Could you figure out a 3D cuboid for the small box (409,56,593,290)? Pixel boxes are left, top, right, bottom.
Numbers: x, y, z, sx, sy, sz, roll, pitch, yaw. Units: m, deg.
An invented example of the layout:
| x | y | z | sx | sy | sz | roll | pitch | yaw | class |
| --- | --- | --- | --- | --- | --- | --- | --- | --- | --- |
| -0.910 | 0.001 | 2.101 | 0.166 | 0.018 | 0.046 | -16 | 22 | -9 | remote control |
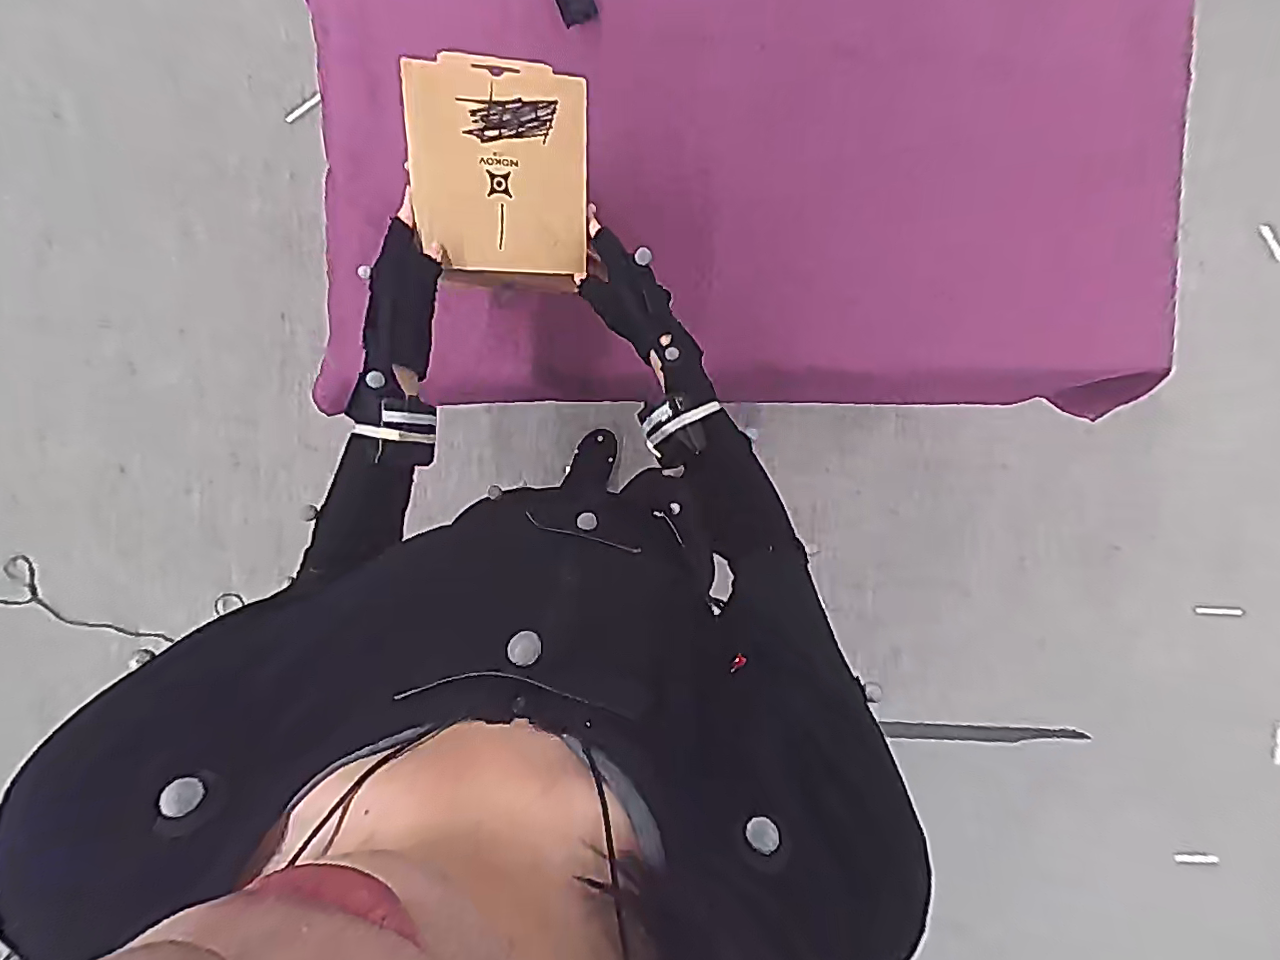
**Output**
| x | y | z | sx | sy | sz | roll | pitch | yaw | class |
| --- | --- | --- | --- | --- | --- | --- | --- | --- | --- |
| -0.142 | -0.310 | 0.586 | 0.168 | 0.176 | 0.179 | -1 | 104 | -10 | small box |
